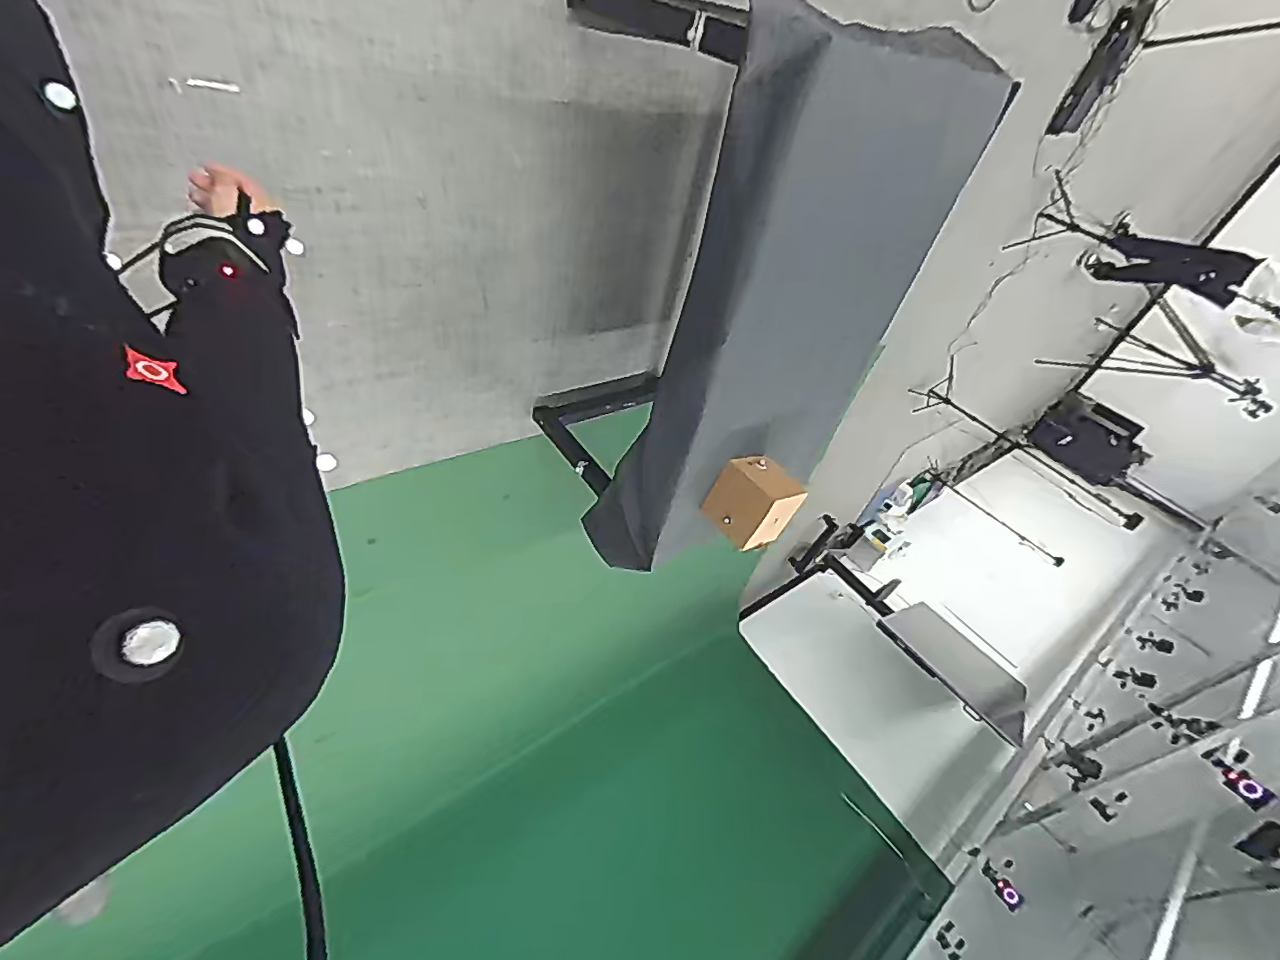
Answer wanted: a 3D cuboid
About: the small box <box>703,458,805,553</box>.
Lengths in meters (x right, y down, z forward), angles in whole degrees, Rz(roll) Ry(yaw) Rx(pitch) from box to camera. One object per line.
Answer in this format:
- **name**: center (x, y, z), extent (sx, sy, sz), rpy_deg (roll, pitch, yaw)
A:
- **small box**: center (0.293, 0.063, 1.432), extent (0.168, 0.176, 0.179), rpy_deg (-10, 135, -44)
